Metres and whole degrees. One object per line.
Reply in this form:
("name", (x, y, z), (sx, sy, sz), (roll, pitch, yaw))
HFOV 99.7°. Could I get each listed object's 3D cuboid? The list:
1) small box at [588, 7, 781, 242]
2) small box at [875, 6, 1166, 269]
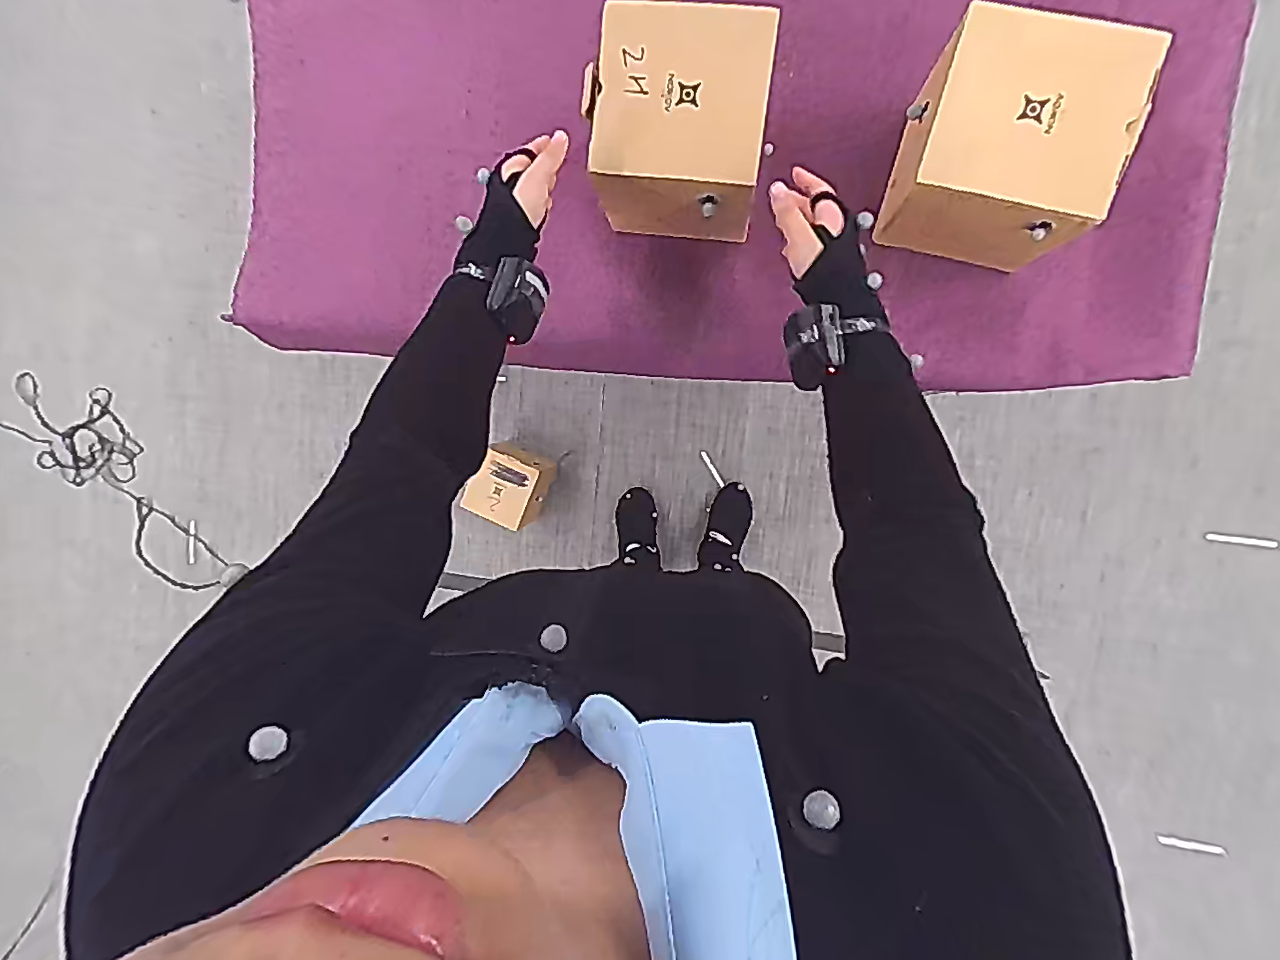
("small box", (0.051, -0.386, 0.618), (0.179, 0.176, 0.168), (8, 96, 7))
("small box", (0.377, -0.344, 0.578), (0.179, 0.176, 0.168), (15, 97, 6))
